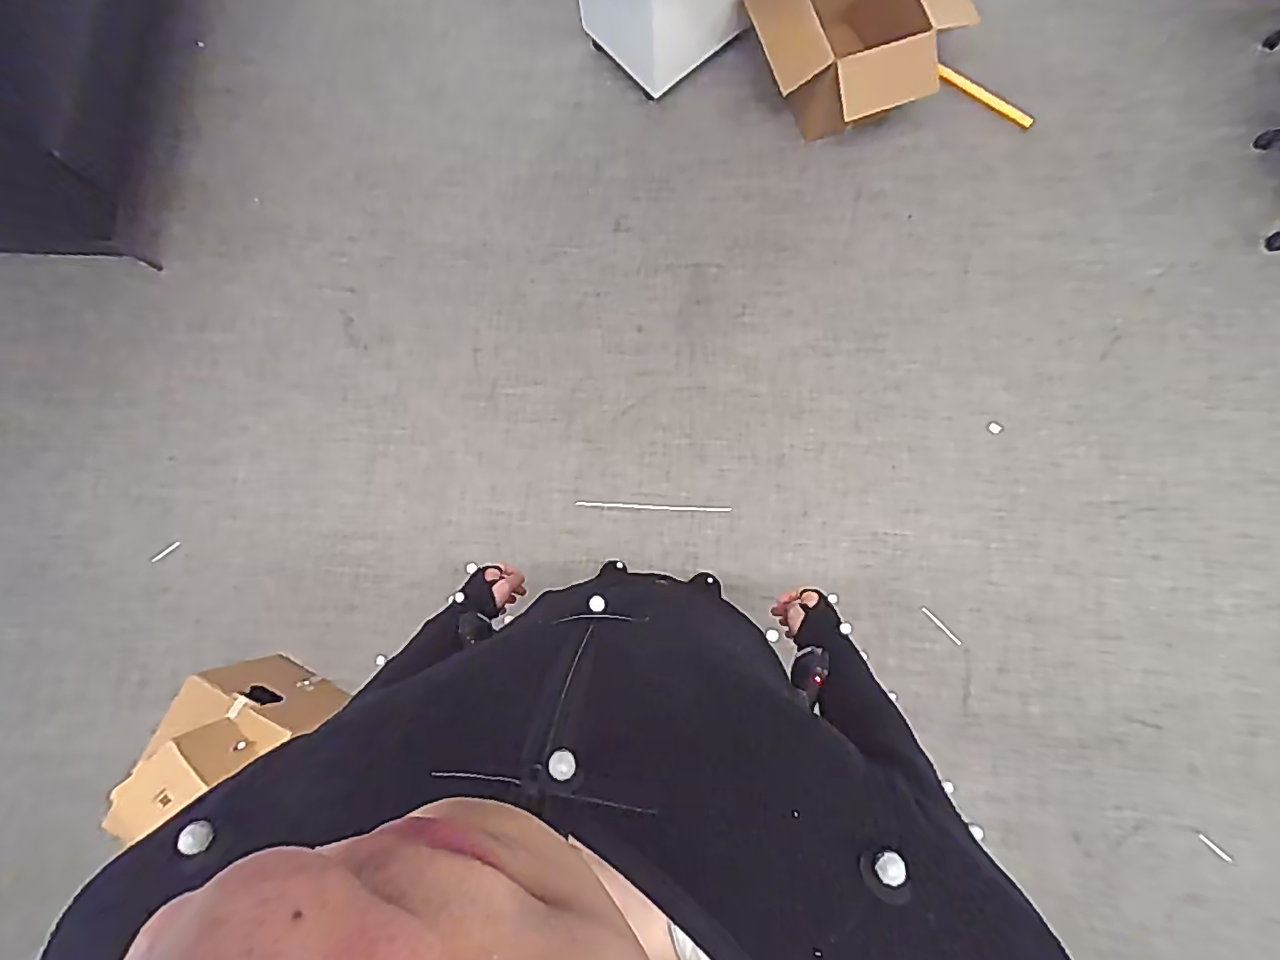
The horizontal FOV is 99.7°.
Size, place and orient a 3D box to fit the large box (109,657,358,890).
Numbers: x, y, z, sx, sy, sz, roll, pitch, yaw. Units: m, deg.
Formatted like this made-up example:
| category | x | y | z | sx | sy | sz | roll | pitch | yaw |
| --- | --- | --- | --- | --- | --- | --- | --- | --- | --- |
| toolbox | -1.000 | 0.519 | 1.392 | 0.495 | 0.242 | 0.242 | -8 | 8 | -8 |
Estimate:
| category | x | y | z | sx | sy | sz | roll | pitch | yaw |
| --- | --- | --- | --- | --- | --- | --- | --- | --- | --- |
| large box | -1.060 | 0.751 | 1.460 | 0.320 | 0.320 | 0.408 | 26 | 84 | 7 |

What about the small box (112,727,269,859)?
| category | x | y | z | sx | sy | sz | roll | pitch | yaw |
| --- | --- | --- | --- | --- | --- | --- | --- | --- | --- |
| small box | -1.002 | 0.686 | 1.219 | 0.168 | 0.176 | 0.179 | -43 | 83 | -5 |
